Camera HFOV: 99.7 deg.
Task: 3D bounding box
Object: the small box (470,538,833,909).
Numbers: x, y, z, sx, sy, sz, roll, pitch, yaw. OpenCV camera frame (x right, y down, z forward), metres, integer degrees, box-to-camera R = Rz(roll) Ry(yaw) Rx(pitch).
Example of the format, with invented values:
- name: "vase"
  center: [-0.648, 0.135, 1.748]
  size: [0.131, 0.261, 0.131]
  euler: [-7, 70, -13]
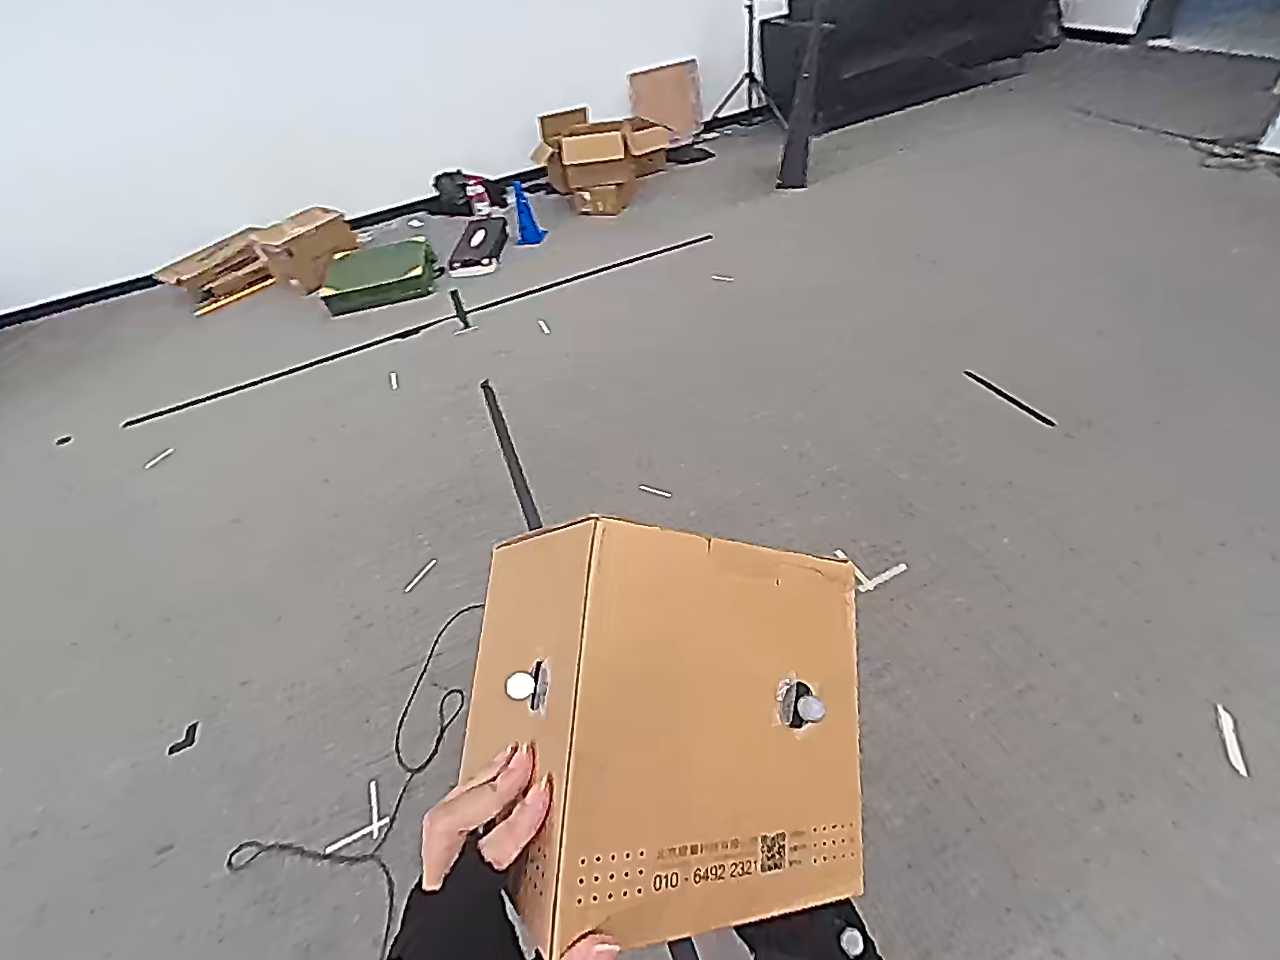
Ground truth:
- name: "small box"
  center: [0.001, 0.137, 0.340]
  size: [0.168, 0.179, 0.176]
  euler: [12, 73, -26]
